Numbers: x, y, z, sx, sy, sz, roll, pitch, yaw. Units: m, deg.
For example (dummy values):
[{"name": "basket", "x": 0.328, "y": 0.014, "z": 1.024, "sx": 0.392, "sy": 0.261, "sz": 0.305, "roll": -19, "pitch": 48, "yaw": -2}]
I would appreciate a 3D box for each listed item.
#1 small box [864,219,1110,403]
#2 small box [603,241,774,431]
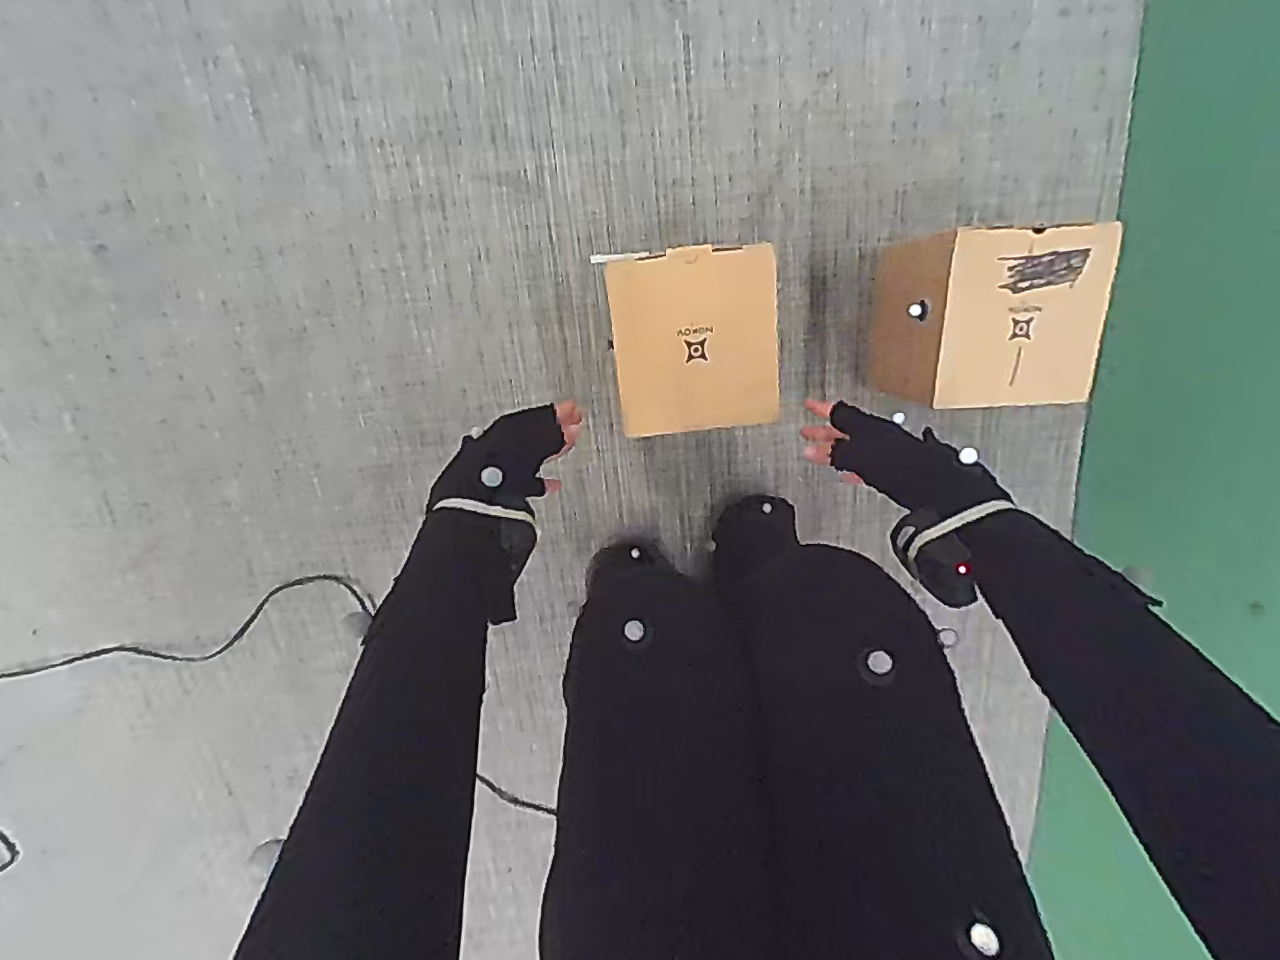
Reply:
[{"name": "small box", "x": 0.377, "y": -0.191, "z": 0.624, "sx": 0.168, "sy": 0.176, "sz": 0.179, "roll": -3, "pitch": 108, "yaw": -1}, {"name": "small box", "x": 0.051, "y": -0.165, "z": 0.623, "sx": 0.168, "sy": 0.176, "sz": 0.179, "roll": -7, "pitch": 107, "yaw": 0}]
